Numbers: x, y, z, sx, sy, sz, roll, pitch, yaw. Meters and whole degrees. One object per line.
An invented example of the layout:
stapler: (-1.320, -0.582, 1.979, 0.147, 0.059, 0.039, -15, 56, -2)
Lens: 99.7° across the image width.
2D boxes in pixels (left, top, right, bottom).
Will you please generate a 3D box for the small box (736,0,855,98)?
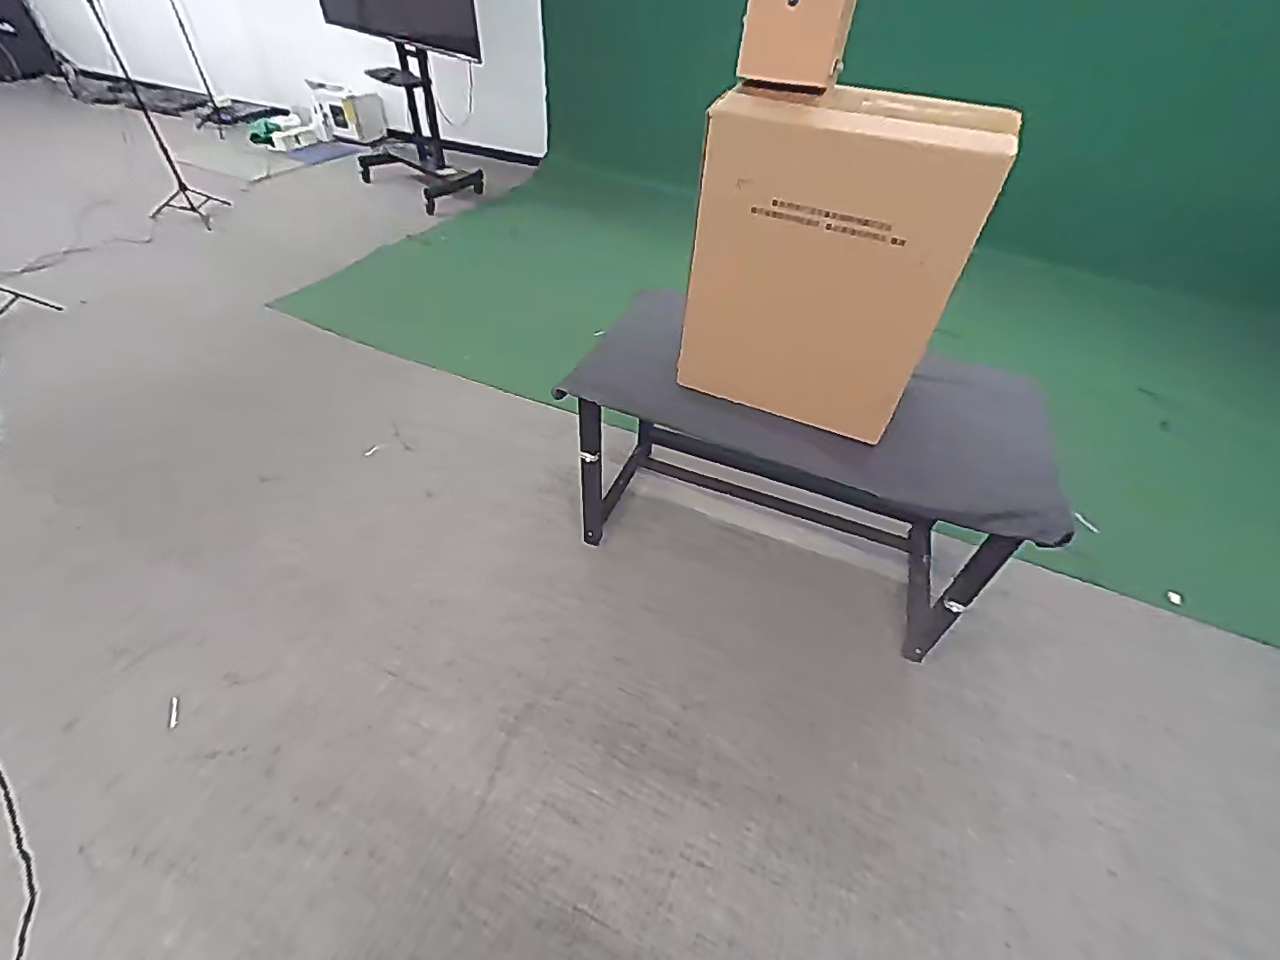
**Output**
small box: (0.302, -0.867, 1.060, 0.179, 0.176, 0.168, 20, 40, 12)
